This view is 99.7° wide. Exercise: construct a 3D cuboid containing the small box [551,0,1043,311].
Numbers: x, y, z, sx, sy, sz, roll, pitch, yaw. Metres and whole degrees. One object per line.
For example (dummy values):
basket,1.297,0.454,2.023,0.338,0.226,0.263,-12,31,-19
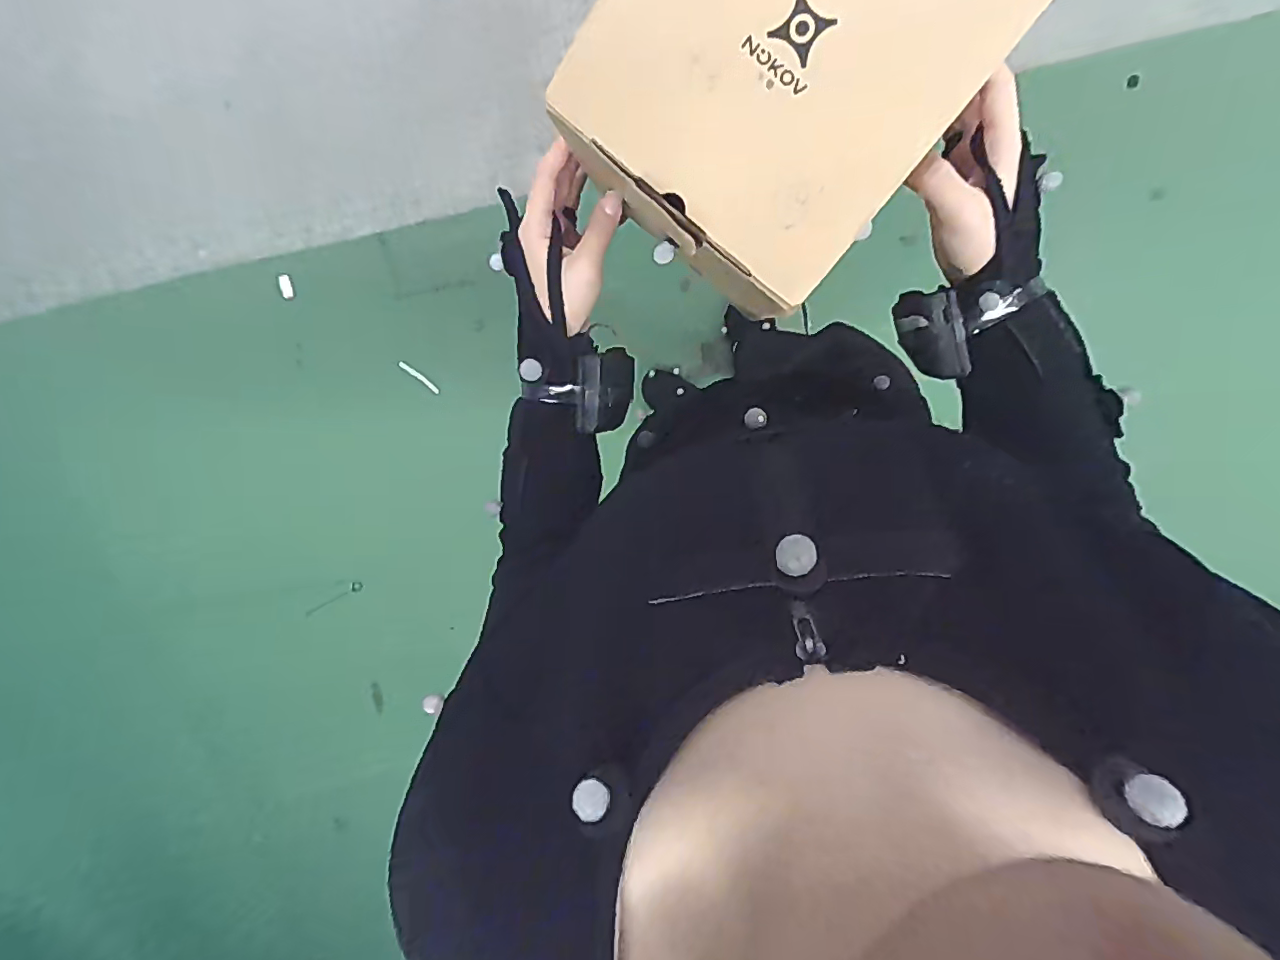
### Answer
small box,0.077,-0.222,0.335,0.168,0.176,0.179,38,106,-5
